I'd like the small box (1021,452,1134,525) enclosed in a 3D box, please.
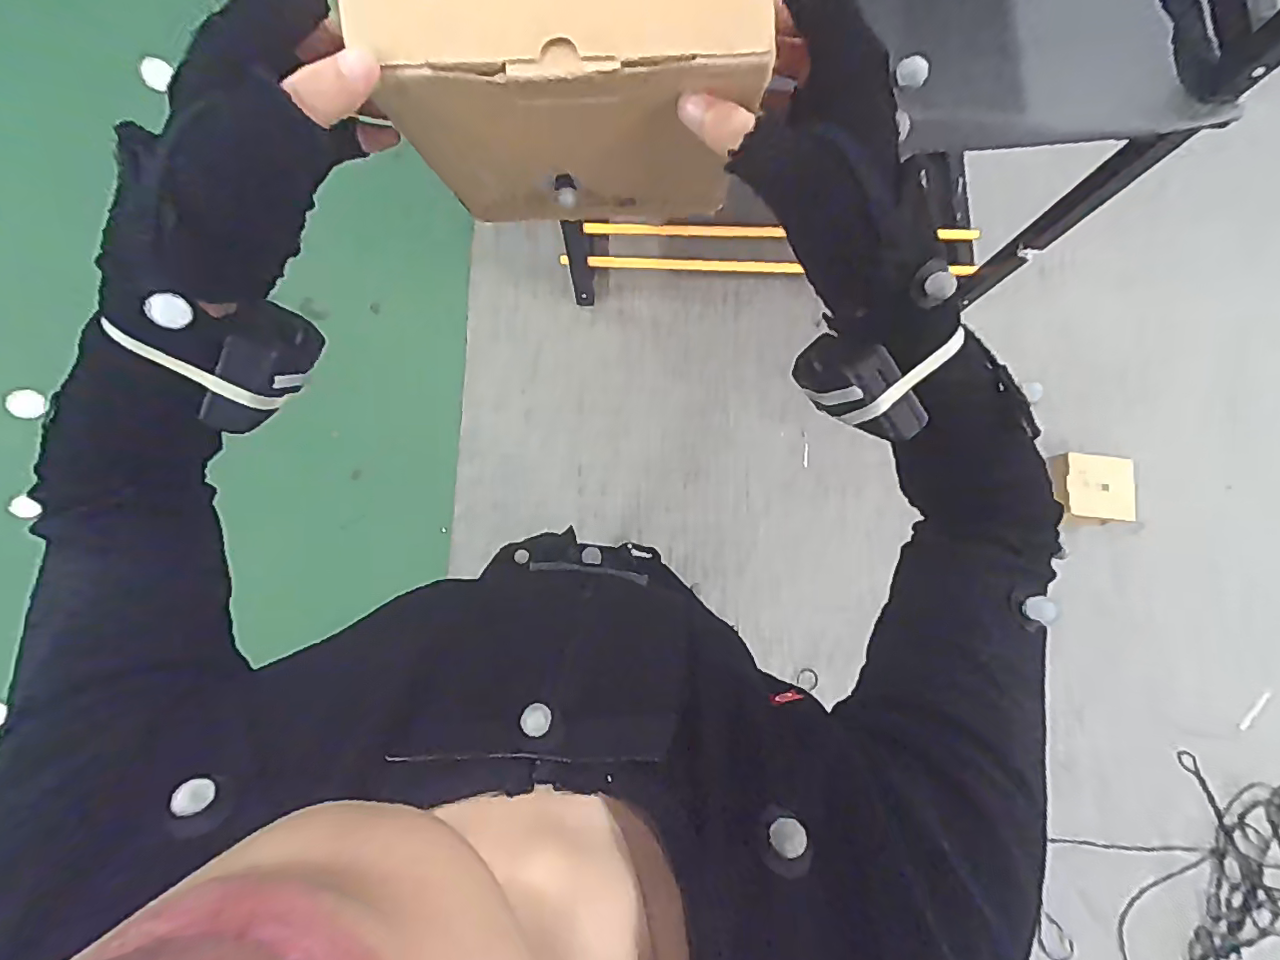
[{"bbox_3d":[1.188,0.028,1.475,0.179,0.176,0.168,6,80,0],"label":"small box"}]
